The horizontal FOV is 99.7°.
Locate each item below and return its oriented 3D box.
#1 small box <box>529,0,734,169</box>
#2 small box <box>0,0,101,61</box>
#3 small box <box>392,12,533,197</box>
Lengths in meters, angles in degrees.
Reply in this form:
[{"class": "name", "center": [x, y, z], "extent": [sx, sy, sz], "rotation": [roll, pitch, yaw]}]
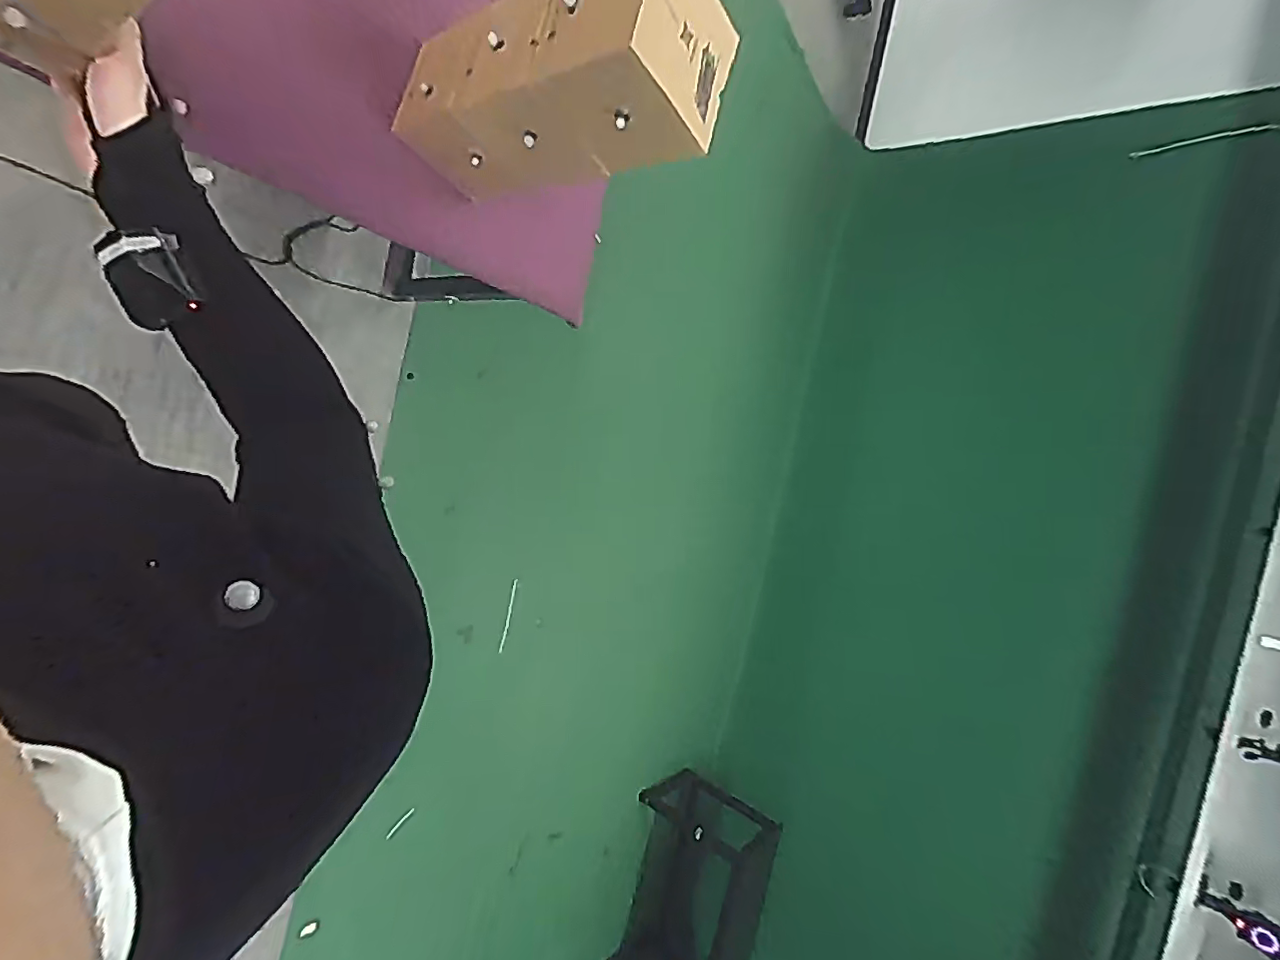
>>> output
[{"class": "small box", "center": [-0.009, -0.529, 0.692], "extent": [0.179, 0.176, 0.168], "rotation": [19, 86, -53]}, {"class": "small box", "center": [-0.533, -0.460, 0.409], "extent": [0.179, 0.176, 0.168], "rotation": [9, 100, -53]}, {"class": "small box", "center": [-0.268, -0.592, 0.883], "extent": [0.179, 0.176, 0.168], "rotation": [26, 80, -54]}]
